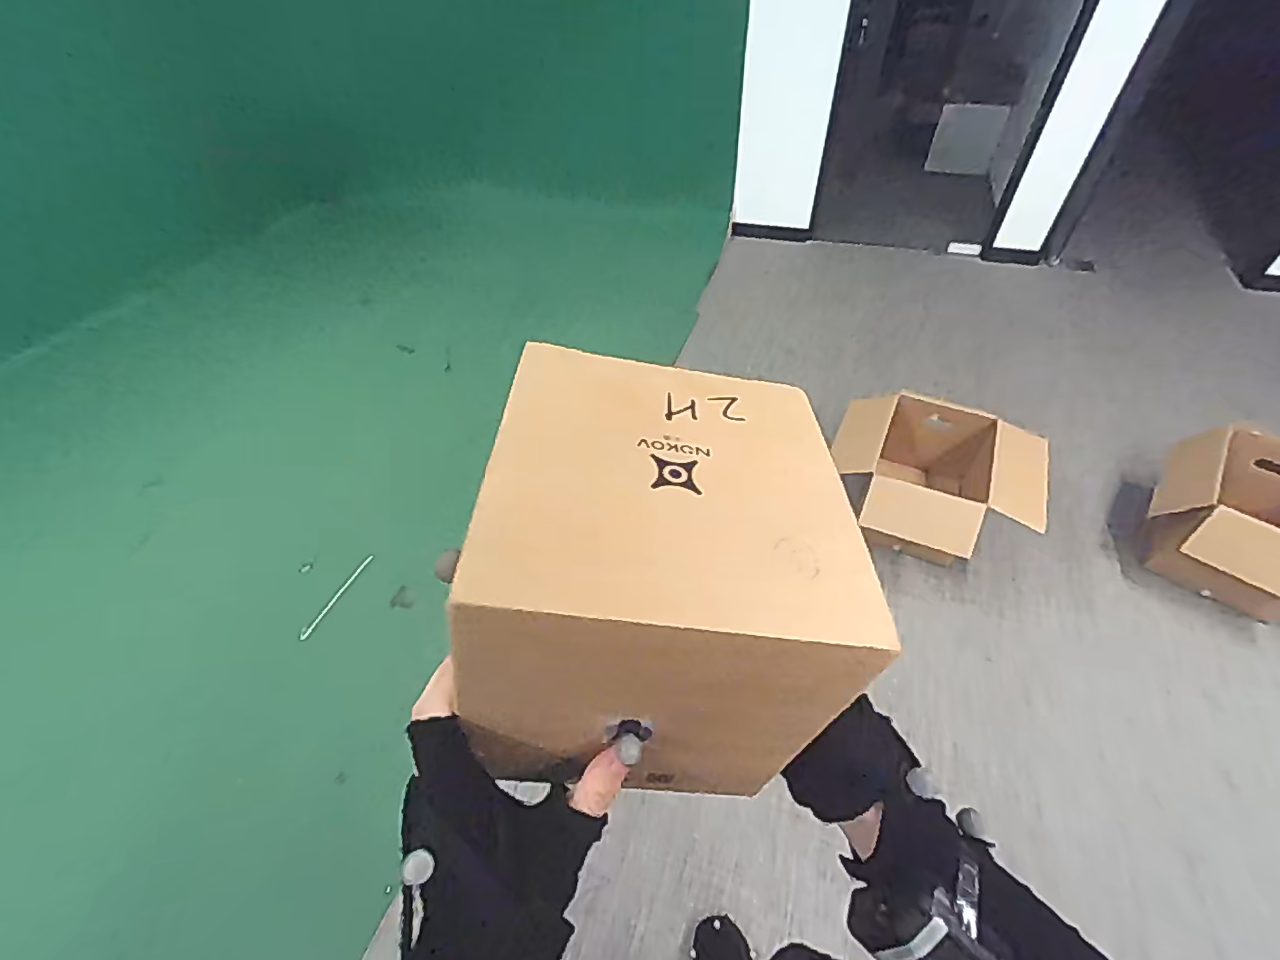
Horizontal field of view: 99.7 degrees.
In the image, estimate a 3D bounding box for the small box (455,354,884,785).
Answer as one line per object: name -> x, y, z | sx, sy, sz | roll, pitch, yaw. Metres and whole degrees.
small box -> 0.001, 0.055, 0.312 | 0.168, 0.176, 0.179 | 8, 42, -8
